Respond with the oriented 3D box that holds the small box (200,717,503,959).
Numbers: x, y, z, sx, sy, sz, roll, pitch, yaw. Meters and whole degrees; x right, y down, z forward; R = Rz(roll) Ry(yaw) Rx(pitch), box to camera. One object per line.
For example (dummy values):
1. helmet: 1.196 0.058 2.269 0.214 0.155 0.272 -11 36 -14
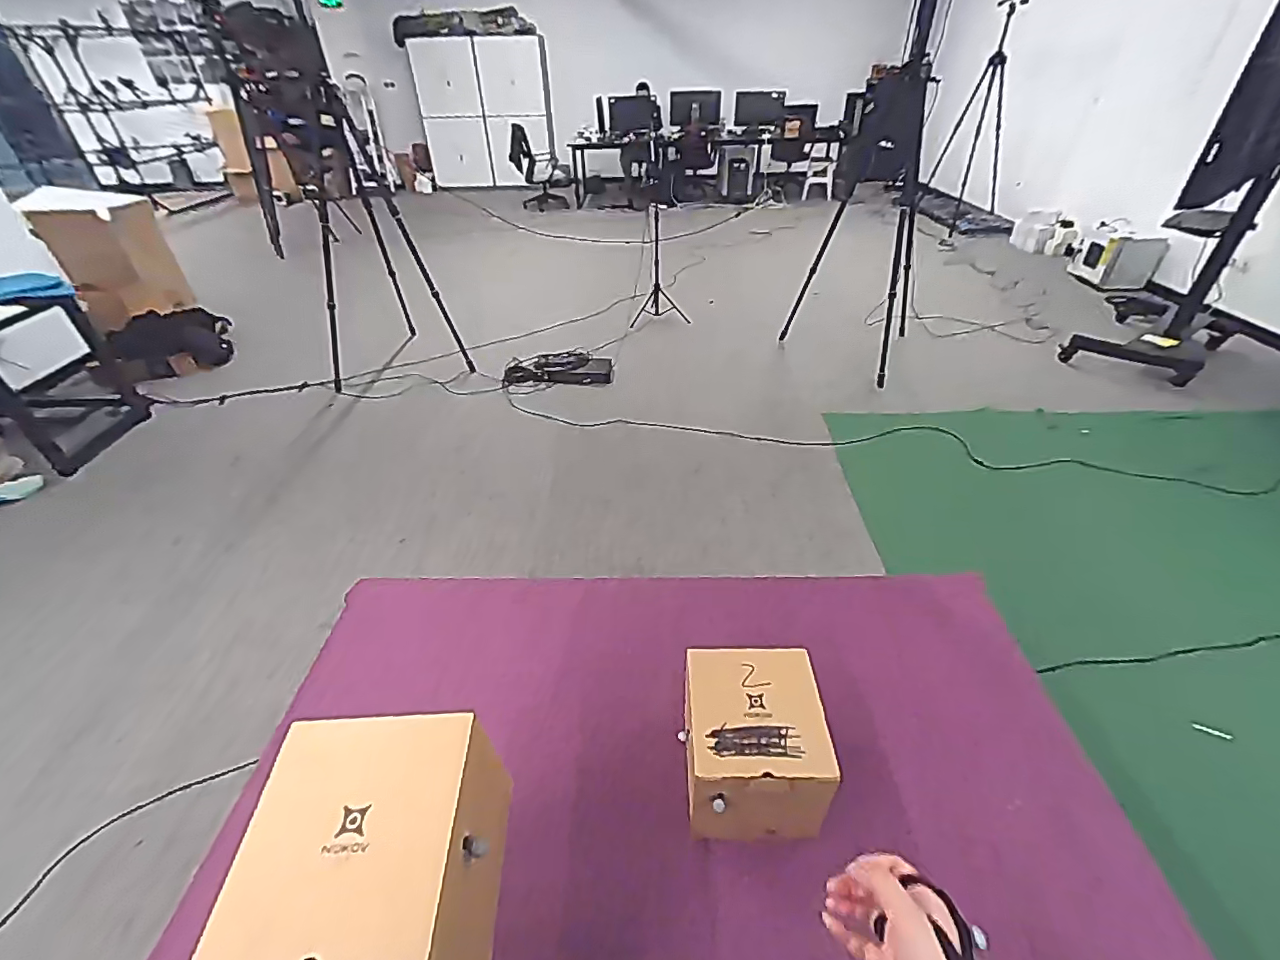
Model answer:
1. small box: -0.229 0.339 0.492 0.168 0.176 0.179 -3 44 0
